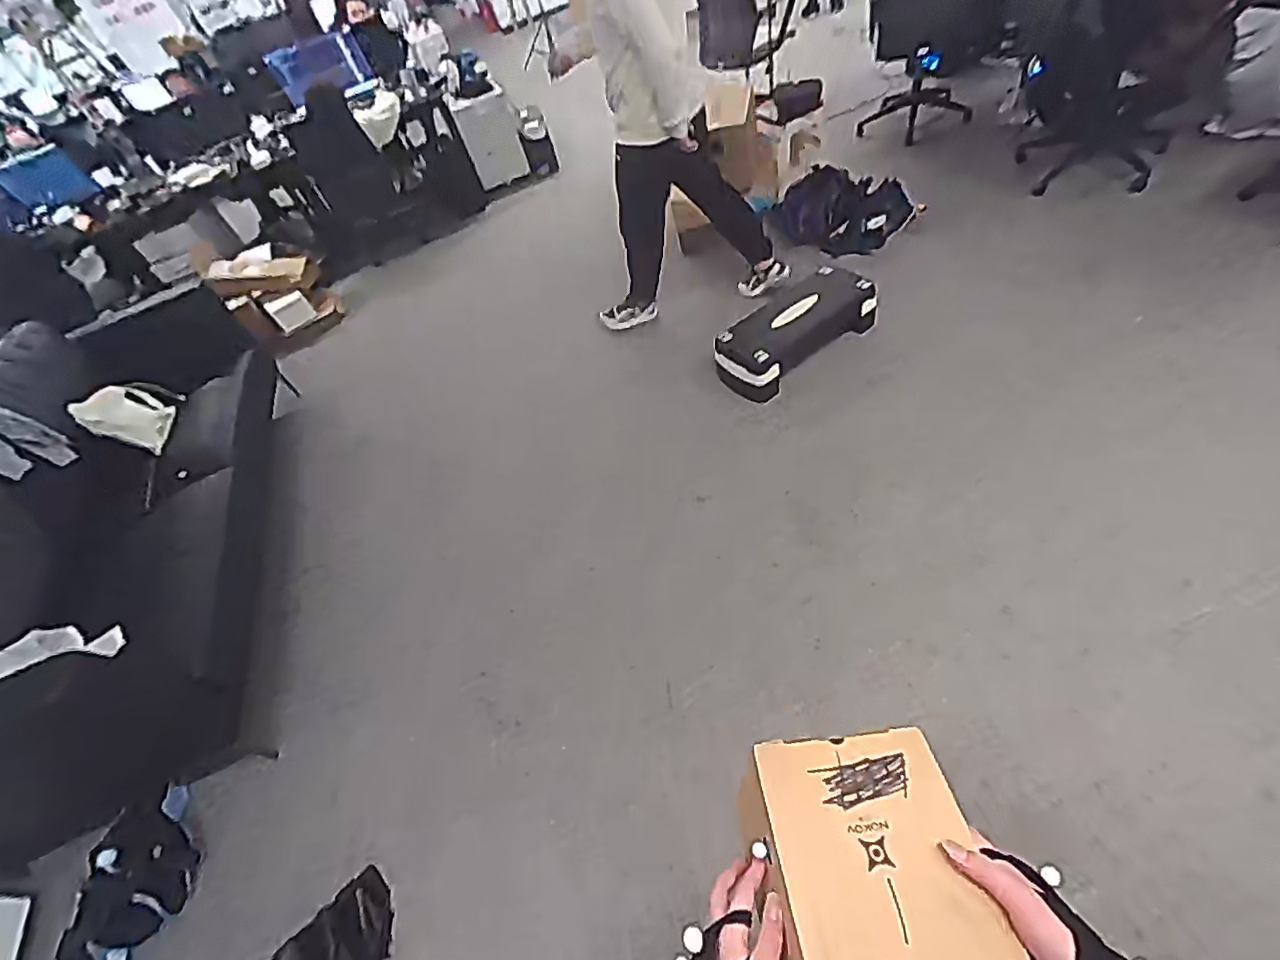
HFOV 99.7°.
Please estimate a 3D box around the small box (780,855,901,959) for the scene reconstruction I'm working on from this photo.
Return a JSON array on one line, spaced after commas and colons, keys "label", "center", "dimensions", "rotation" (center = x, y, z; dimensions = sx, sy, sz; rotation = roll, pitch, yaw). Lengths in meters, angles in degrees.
[{"label": "small box", "center": [0.401, 0.893, 1.107], "dimensions": [0.179, 0.176, 0.168], "rotation": [-18, 51, 2]}]
